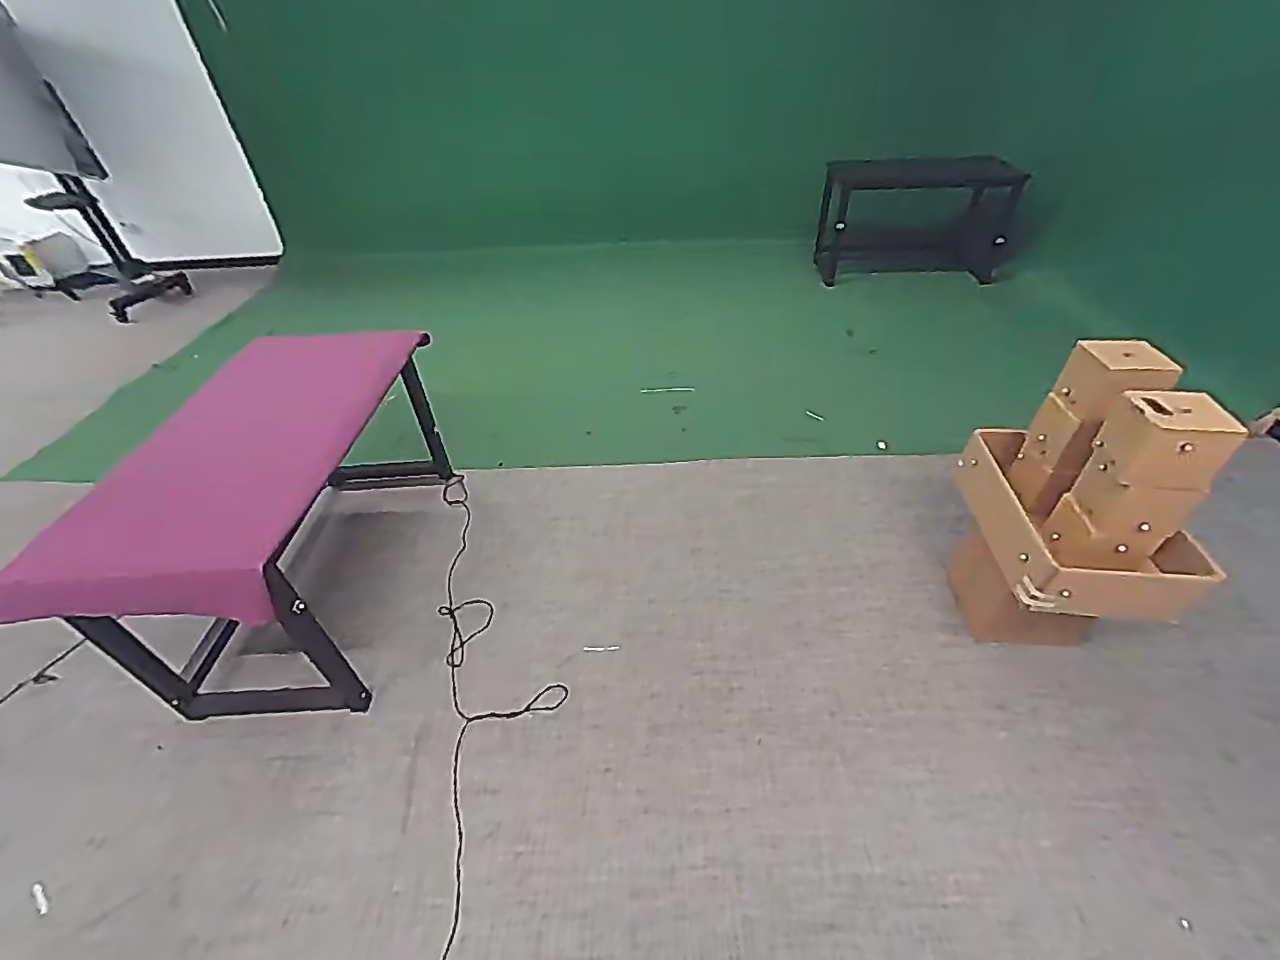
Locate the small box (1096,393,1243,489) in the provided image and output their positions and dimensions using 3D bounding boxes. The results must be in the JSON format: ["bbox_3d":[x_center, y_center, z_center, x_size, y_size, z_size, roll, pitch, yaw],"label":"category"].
[{"bbox_3d":[1.251,-0.094,1.301,0.179,0.176,0.168,4,42,9],"label":"small box"}]

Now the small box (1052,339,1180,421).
[{"bbox_3d":[1.301,-0.272,1.495,0.179,0.176,0.168,2,42,4],"label":"small box"}]

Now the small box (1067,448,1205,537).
[{"bbox_3d":[1.276,0.031,1.409,0.179,0.176,0.168,4,42,7],"label":"small box"}]

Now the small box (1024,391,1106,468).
[{"bbox_3d":[1.295,-0.147,1.601,0.179,0.176,0.168,1,42,3],"label":"small box"}]
